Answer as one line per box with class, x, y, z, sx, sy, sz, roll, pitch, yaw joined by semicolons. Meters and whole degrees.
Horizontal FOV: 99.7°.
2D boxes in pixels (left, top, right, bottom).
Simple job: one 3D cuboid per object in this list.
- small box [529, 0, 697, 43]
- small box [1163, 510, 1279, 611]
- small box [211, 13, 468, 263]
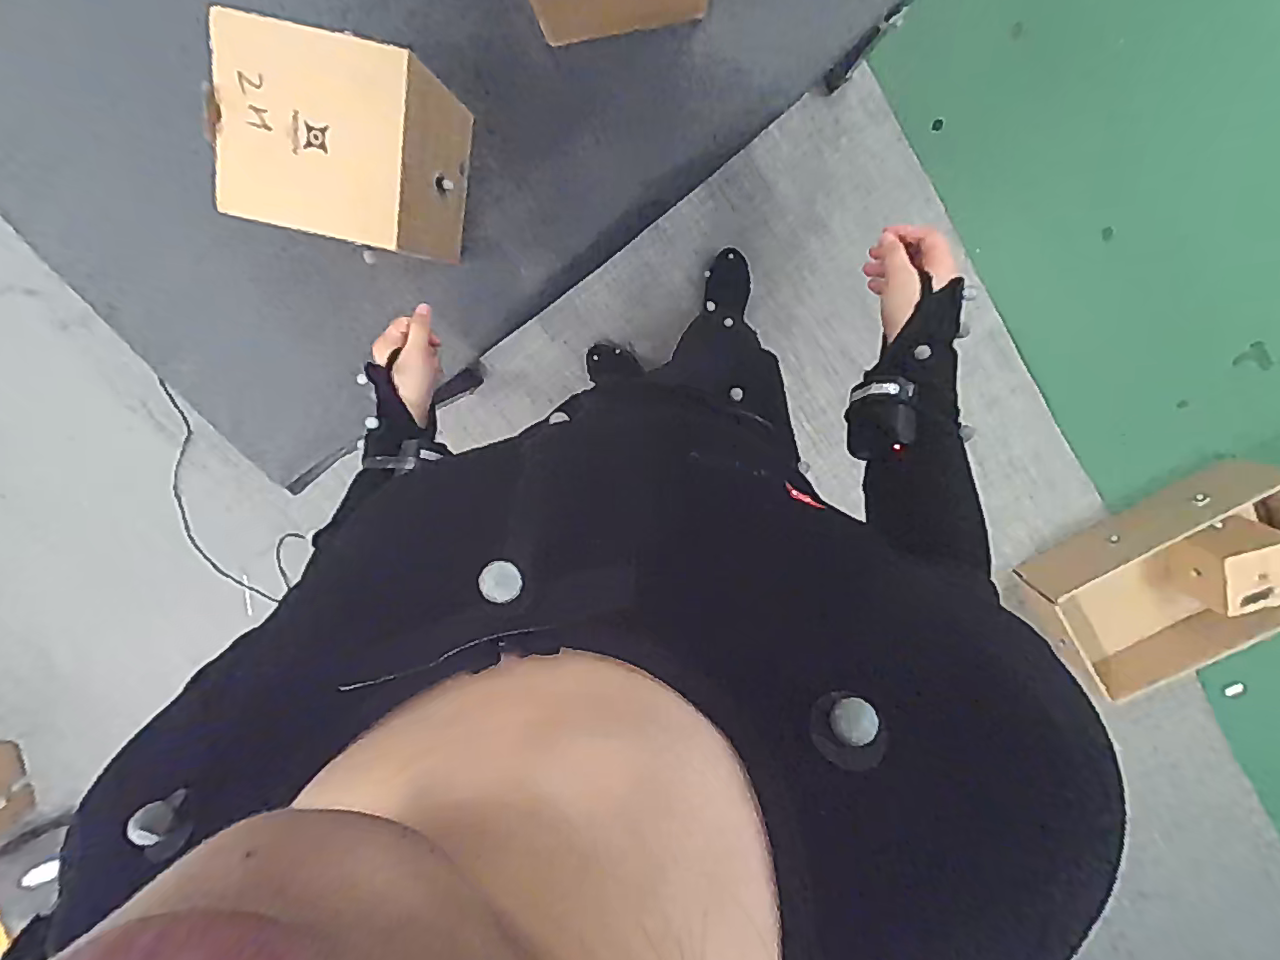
small box;-0.030;-0.537;0.486;0.179;0.176;0.168;-7;107;6
small box;1.501;0.202;1.387;0.168;0.176;0.179;-19;107;9
small box;-0.295;-0.331;0.565;0.179;0.176;0.168;12;108;-1
